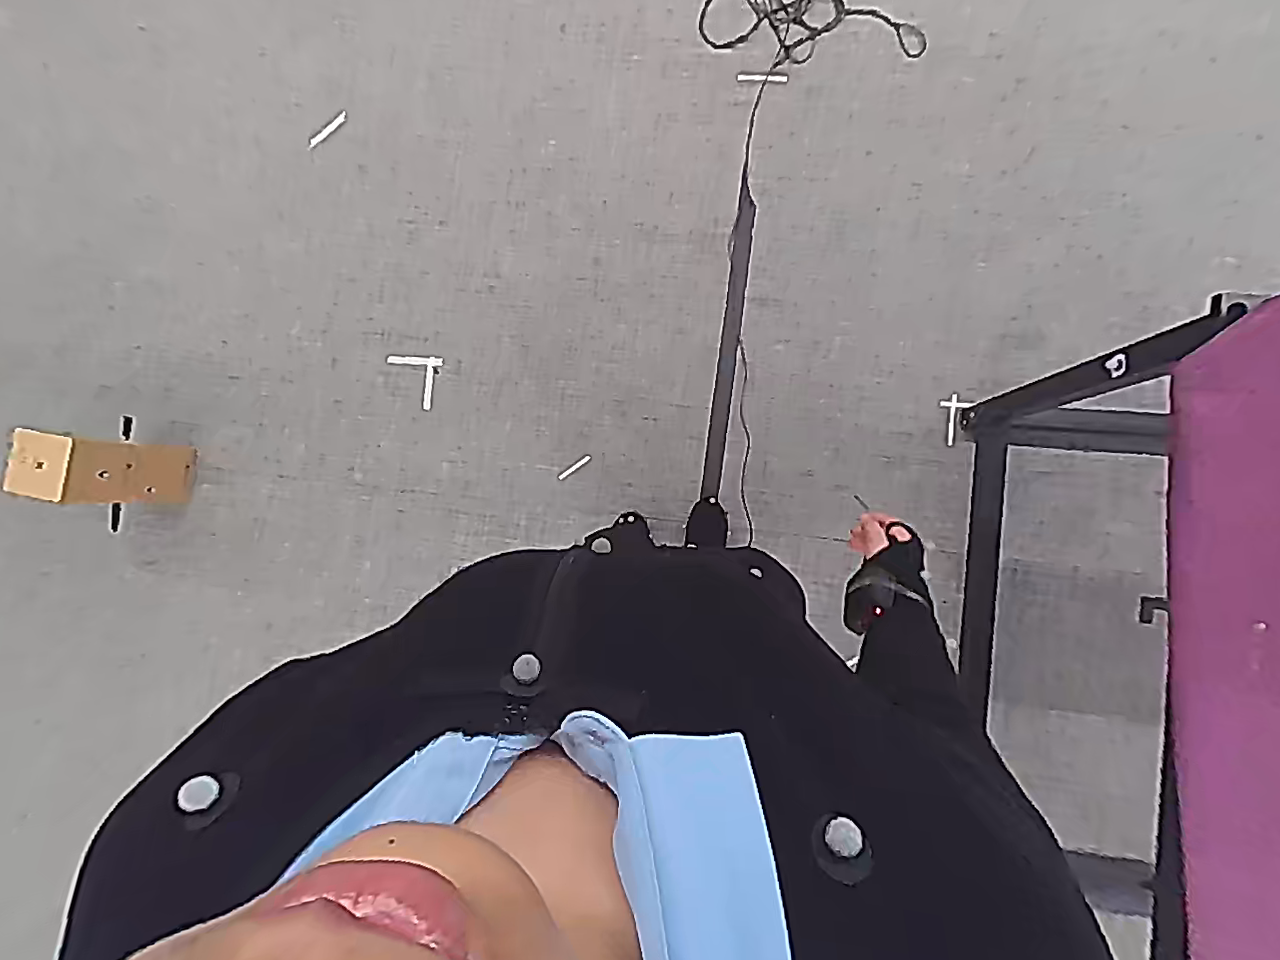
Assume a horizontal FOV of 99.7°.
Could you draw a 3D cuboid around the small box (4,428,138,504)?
[{"bbox_3d":[-1.504,-0.034,1.440,0.179,0.176,0.168,11,88,8],"label":"small box"}]
